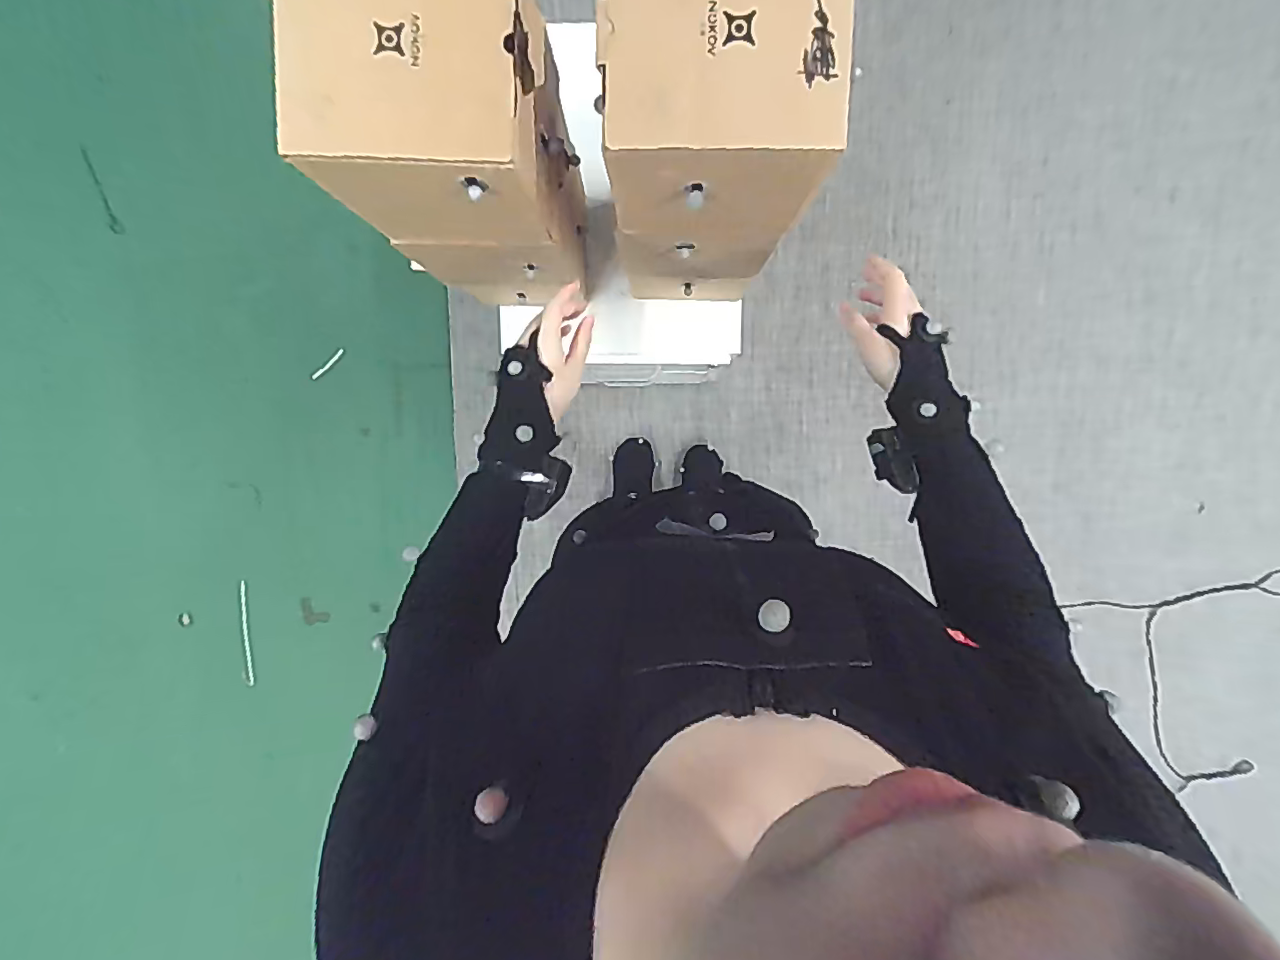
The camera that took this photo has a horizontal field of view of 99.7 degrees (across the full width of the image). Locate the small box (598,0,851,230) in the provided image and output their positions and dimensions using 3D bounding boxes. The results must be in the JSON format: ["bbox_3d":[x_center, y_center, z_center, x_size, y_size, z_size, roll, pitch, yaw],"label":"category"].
[{"bbox_3d":[0.064,-0.324,0.457,0.179,0.176,0.168,1,96,3],"label":"small box"}]

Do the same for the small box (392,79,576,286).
[{"bbox_3d":[-0.168,-0.332,0.627,0.179,0.176,0.168,0,95,1],"label":"small box"}]

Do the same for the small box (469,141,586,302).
[{"bbox_3d":[-0.167,-0.364,0.787,0.168,0.176,0.179,0,96,-1],"label":"small box"}]

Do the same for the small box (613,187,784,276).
[{"bbox_3d":[0.066,-0.341,0.621,0.179,0.176,0.168,2,96,2],"label":"small box"}]

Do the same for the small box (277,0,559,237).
[{"bbox_3d":[-0.172,-0.322,0.464,0.179,0.176,0.168,2,95,0],"label":"small box"}]
